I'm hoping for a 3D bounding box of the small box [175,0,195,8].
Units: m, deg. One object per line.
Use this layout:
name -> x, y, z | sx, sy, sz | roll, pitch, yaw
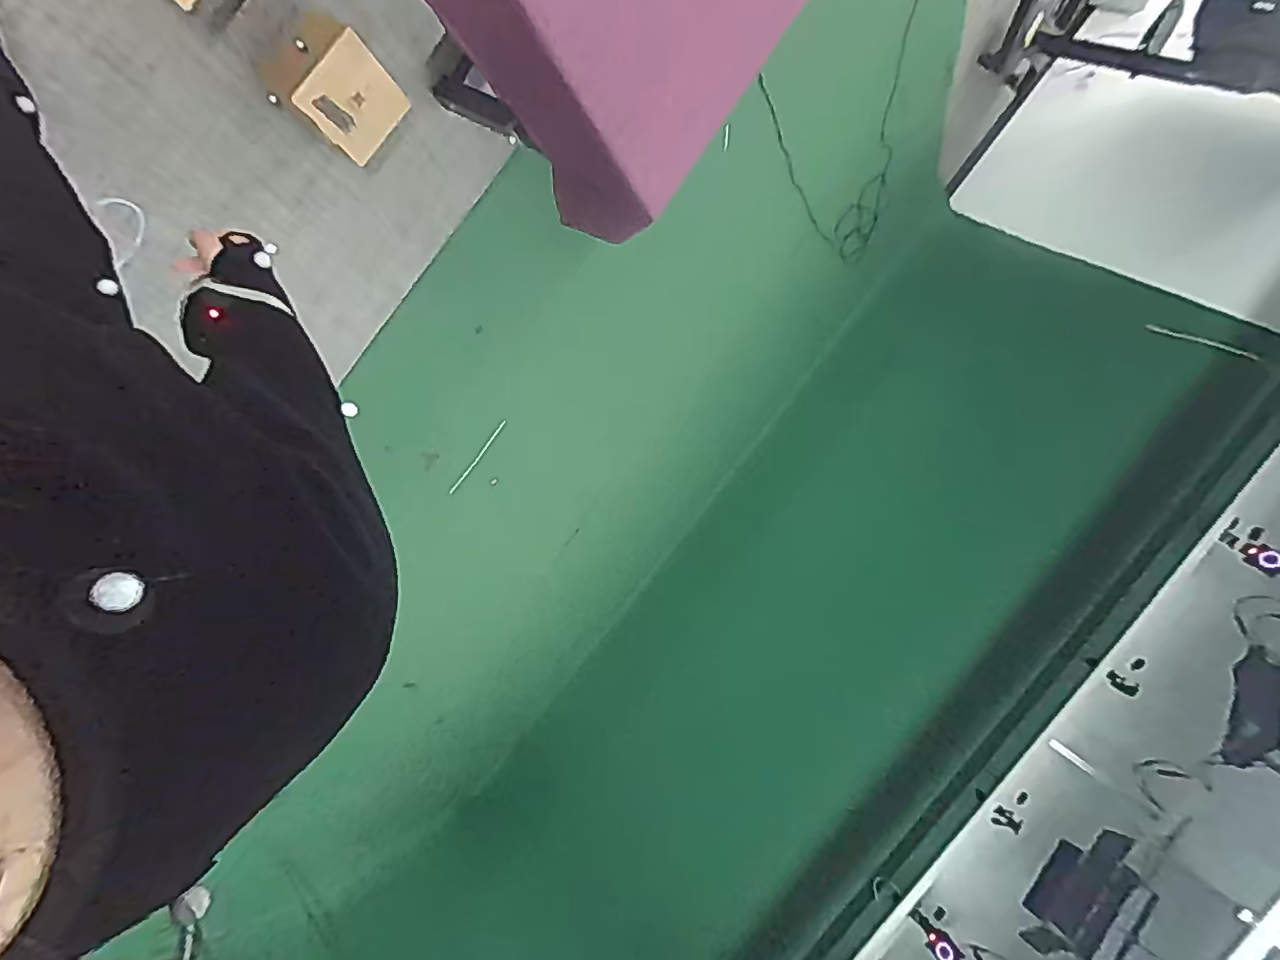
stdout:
small box -> -0.749, -0.863, 0.800 | 0.168, 0.176, 0.179 | -53, 154, 5
